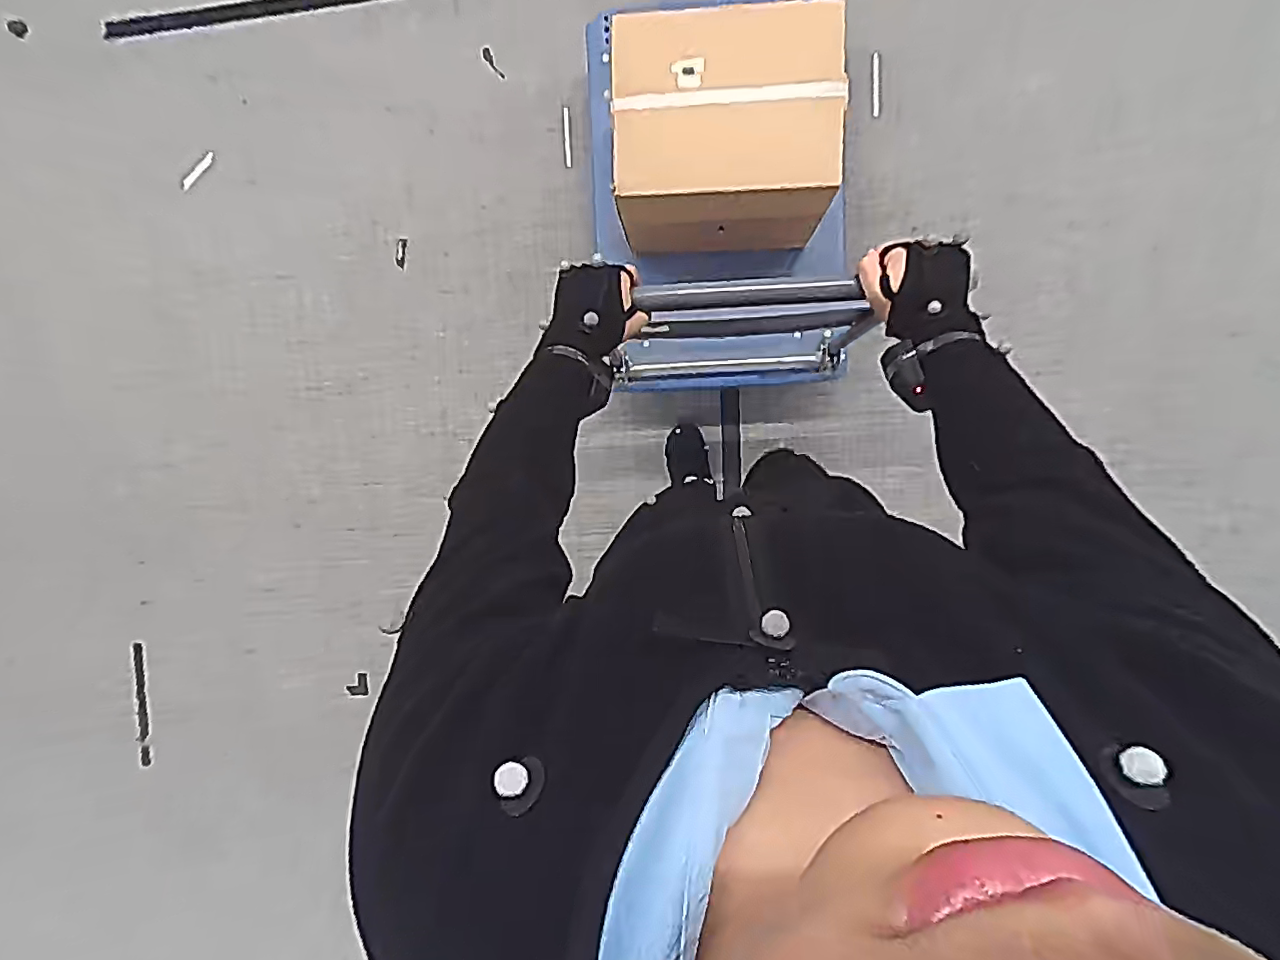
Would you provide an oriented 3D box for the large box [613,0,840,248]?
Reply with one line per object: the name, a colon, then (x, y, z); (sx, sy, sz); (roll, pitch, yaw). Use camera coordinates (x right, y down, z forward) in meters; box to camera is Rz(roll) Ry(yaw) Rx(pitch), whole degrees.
large box: (0.169, -0.693, 1.111); (0.408, 0.320, 0.320); (0, 93, 6)
